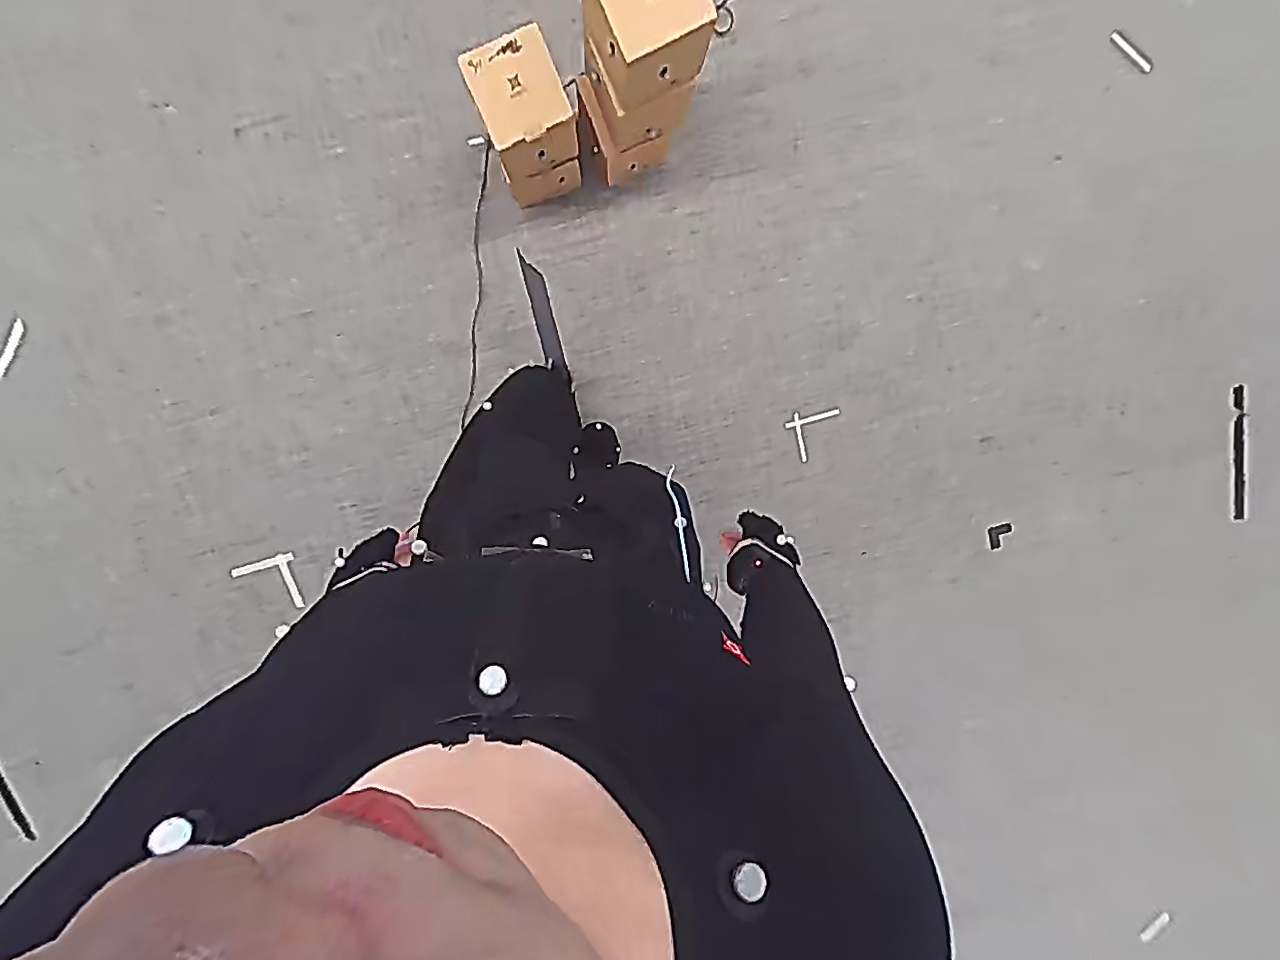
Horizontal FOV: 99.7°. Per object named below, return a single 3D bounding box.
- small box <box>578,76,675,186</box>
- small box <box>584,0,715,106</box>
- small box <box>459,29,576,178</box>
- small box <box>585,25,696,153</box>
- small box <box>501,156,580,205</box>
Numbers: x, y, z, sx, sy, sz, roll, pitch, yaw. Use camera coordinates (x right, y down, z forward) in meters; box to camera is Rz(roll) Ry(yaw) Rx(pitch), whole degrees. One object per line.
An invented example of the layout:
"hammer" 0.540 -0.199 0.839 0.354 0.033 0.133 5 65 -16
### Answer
"small box" -0.035 -0.826 1.259 0.168 0.176 0.179 -23 101 1
"small box" 0.011 -0.789 0.933 0.168 0.176 0.179 -26 101 1
"small box" -0.236 -0.744 1.096 0.168 0.176 0.179 -23 101 0
"small box" -0.003 -0.810 1.097 0.168 0.176 0.179 -23 102 1
"small box" -0.244 -0.767 1.259 0.168 0.176 0.179 -19 100 0
